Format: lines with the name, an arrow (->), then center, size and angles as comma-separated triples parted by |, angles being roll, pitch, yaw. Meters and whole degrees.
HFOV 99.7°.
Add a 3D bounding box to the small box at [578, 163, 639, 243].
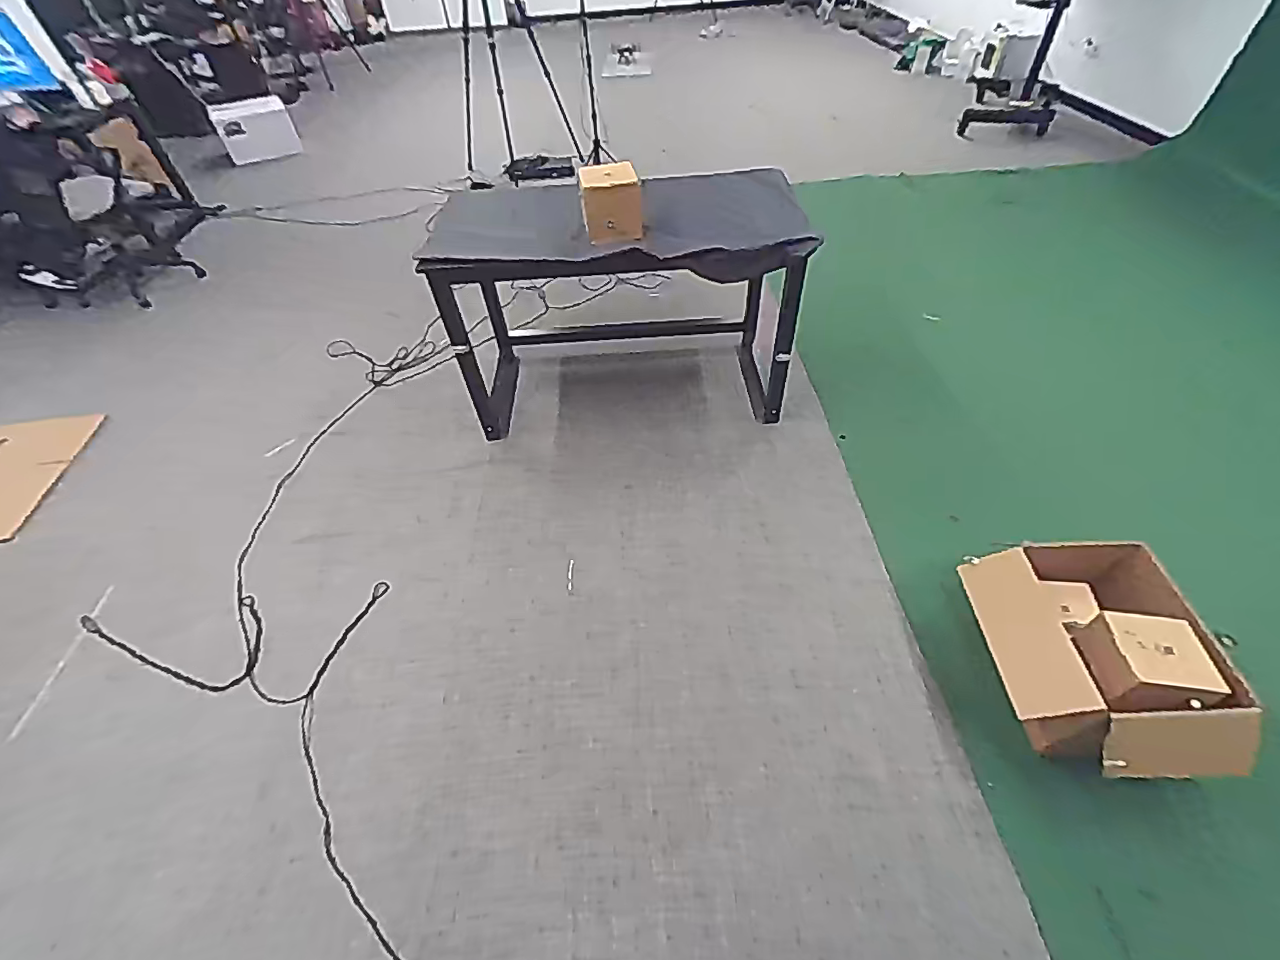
small box -> -0.097, -0.855, 1.671 | 0.168, 0.176, 0.179 | -9, 49, -5
